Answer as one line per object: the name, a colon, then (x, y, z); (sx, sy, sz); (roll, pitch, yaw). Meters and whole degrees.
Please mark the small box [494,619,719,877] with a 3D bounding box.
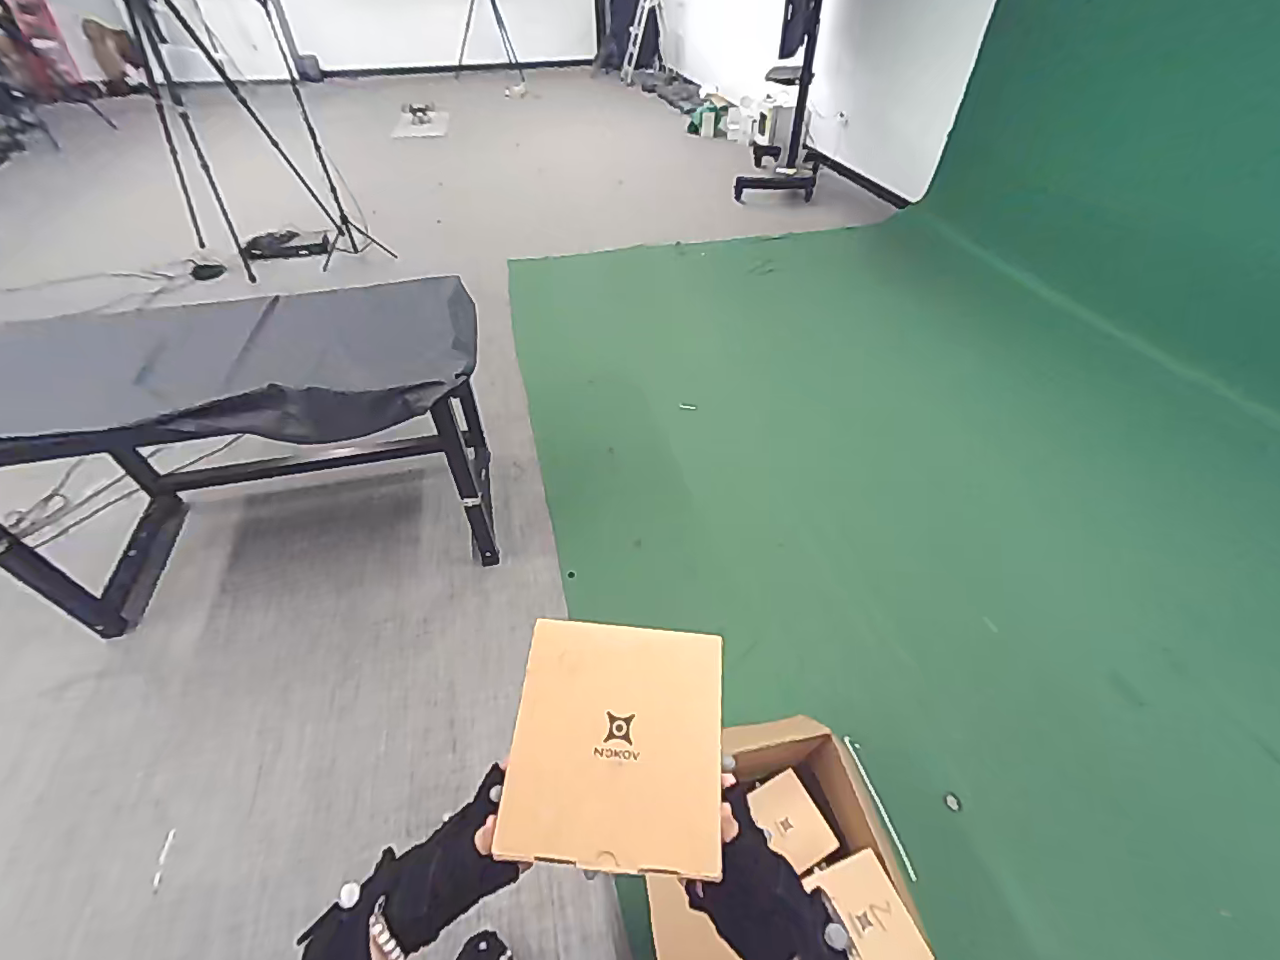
small box: (-0.024, 0.248, 0.505); (0.168, 0.176, 0.179); (6, 58, 0)
